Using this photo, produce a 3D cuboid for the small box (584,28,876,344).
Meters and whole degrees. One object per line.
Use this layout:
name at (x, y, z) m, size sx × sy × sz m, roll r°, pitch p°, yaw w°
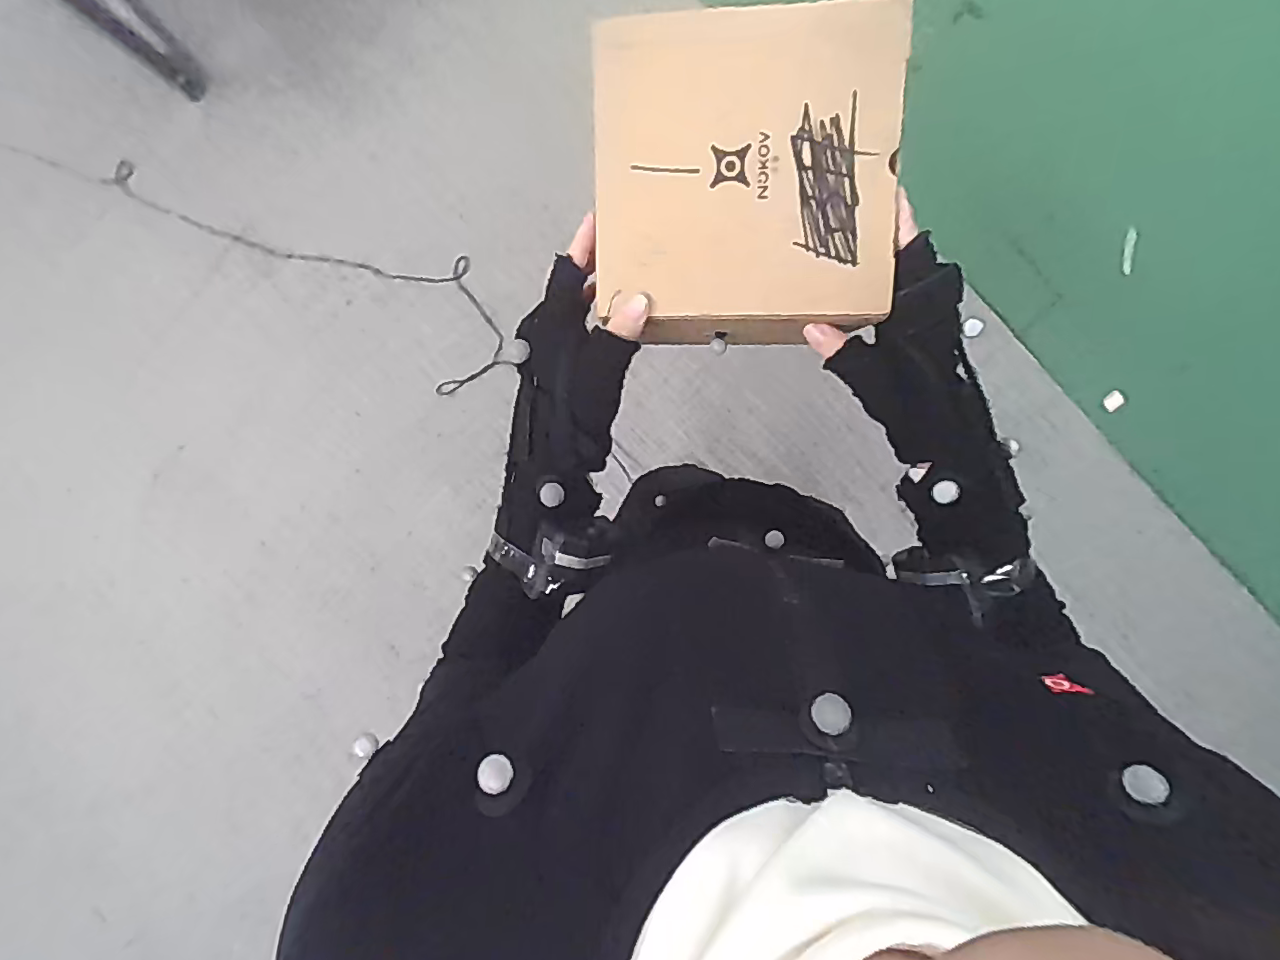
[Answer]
small box at (0.057, -0.198, 0.413) m, size 0.179 × 0.176 × 0.168 m, roll 1°, pitch 98°, yaw 5°
